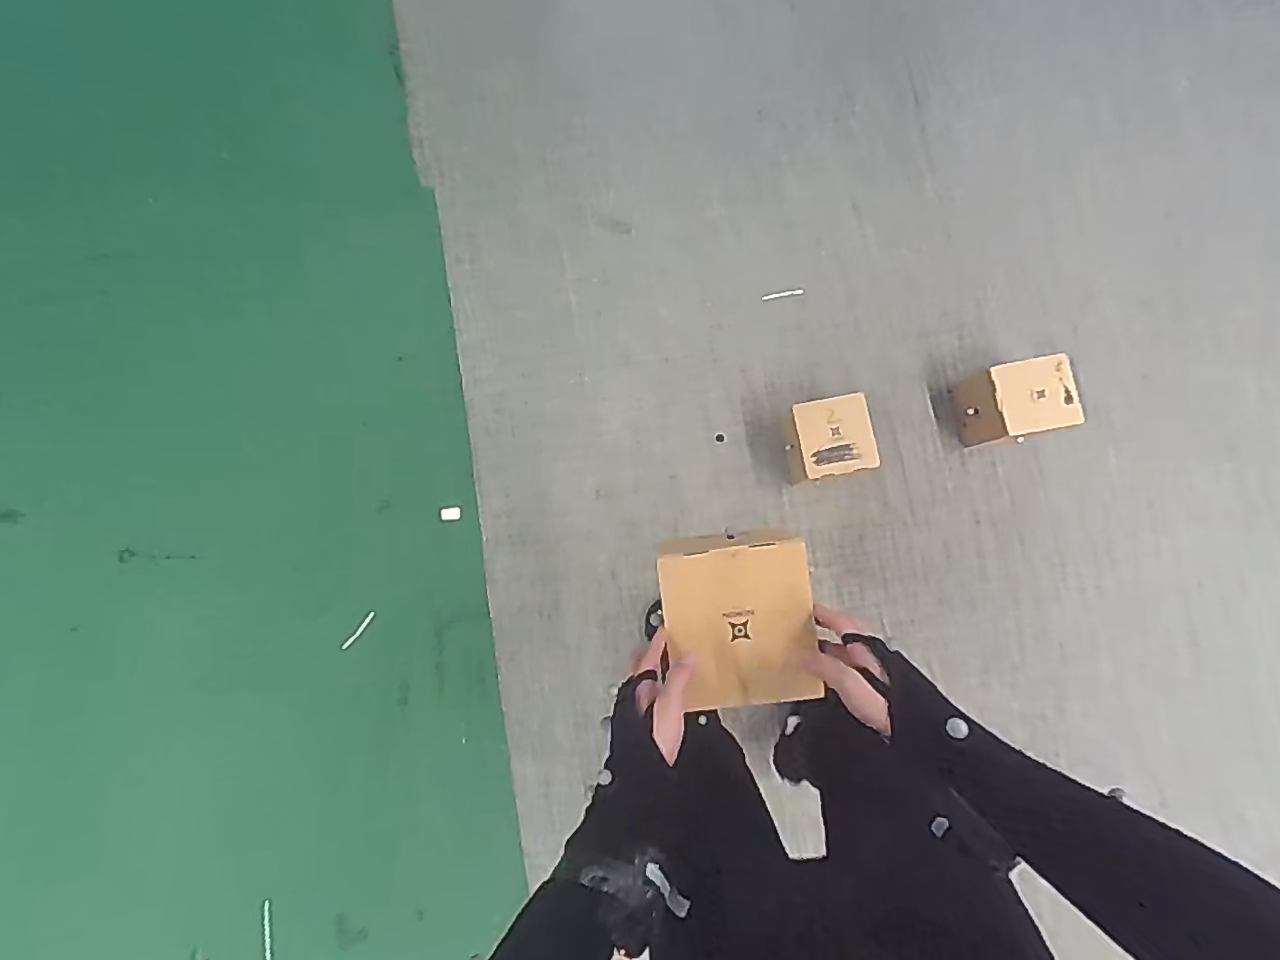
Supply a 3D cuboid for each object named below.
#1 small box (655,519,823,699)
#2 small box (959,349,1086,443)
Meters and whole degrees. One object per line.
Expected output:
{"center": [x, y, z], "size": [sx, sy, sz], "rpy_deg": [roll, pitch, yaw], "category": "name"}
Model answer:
{"center": [0.113, 0.146, 0.666], "size": [0.168, 0.176, 0.179], "rpy_deg": [-7, 88, 3], "category": "small box"}
{"center": [0.885, -0.191, 1.275], "size": [0.179, 0.176, 0.168], "rpy_deg": [-10, 84, 2], "category": "small box"}
